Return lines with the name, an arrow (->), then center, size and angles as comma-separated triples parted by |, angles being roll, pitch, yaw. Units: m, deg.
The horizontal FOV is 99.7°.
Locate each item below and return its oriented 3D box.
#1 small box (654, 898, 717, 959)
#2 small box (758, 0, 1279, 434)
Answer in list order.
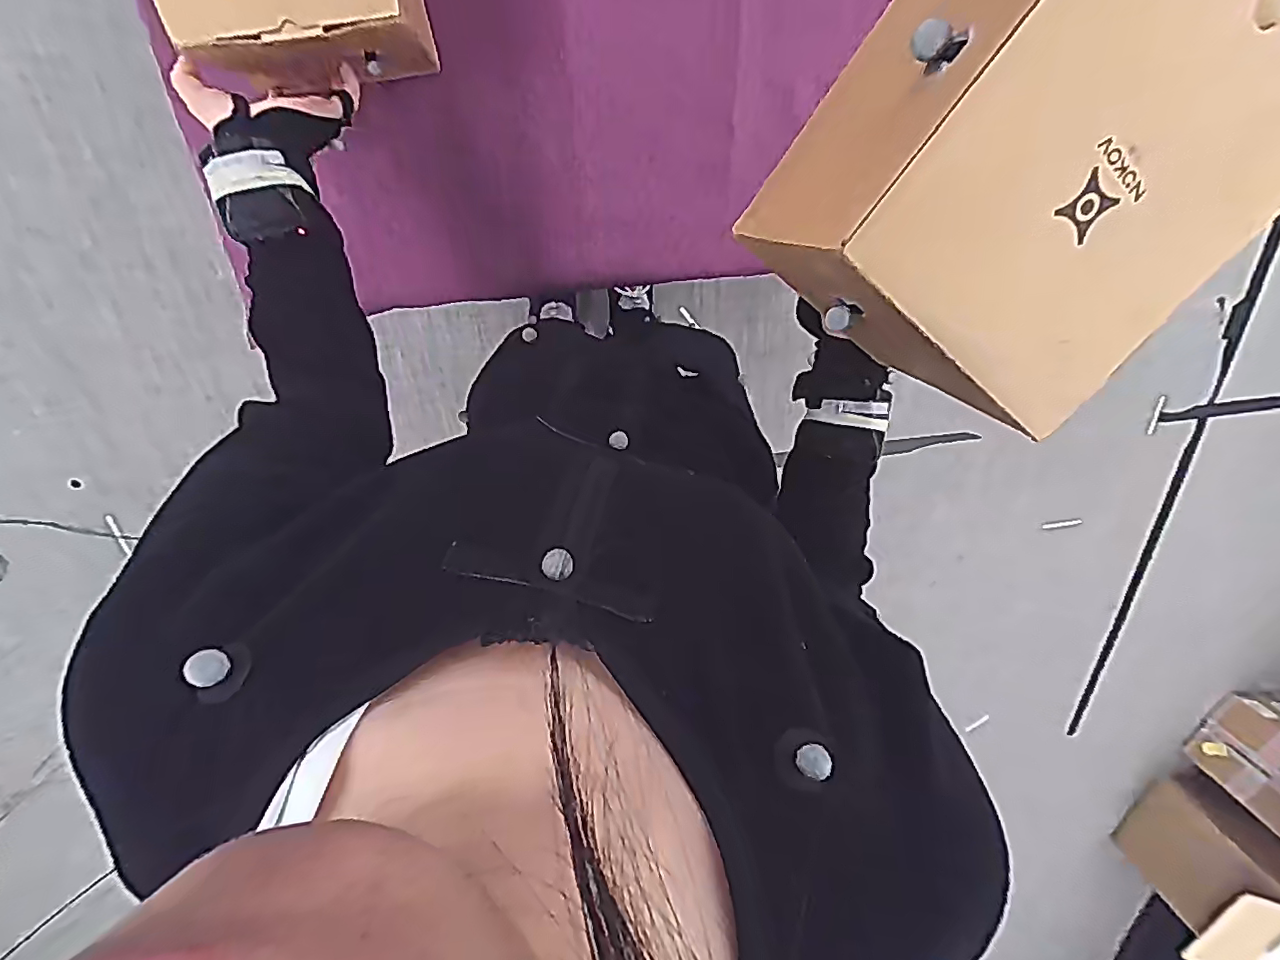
small box -> 0.140, 1.474, 1.728 | 0.168, 0.176, 0.179 | -3, 115, -8
small box -> 0.190, -0.162, 0.311 | 0.168, 0.176, 0.179 | 31, 107, -21
